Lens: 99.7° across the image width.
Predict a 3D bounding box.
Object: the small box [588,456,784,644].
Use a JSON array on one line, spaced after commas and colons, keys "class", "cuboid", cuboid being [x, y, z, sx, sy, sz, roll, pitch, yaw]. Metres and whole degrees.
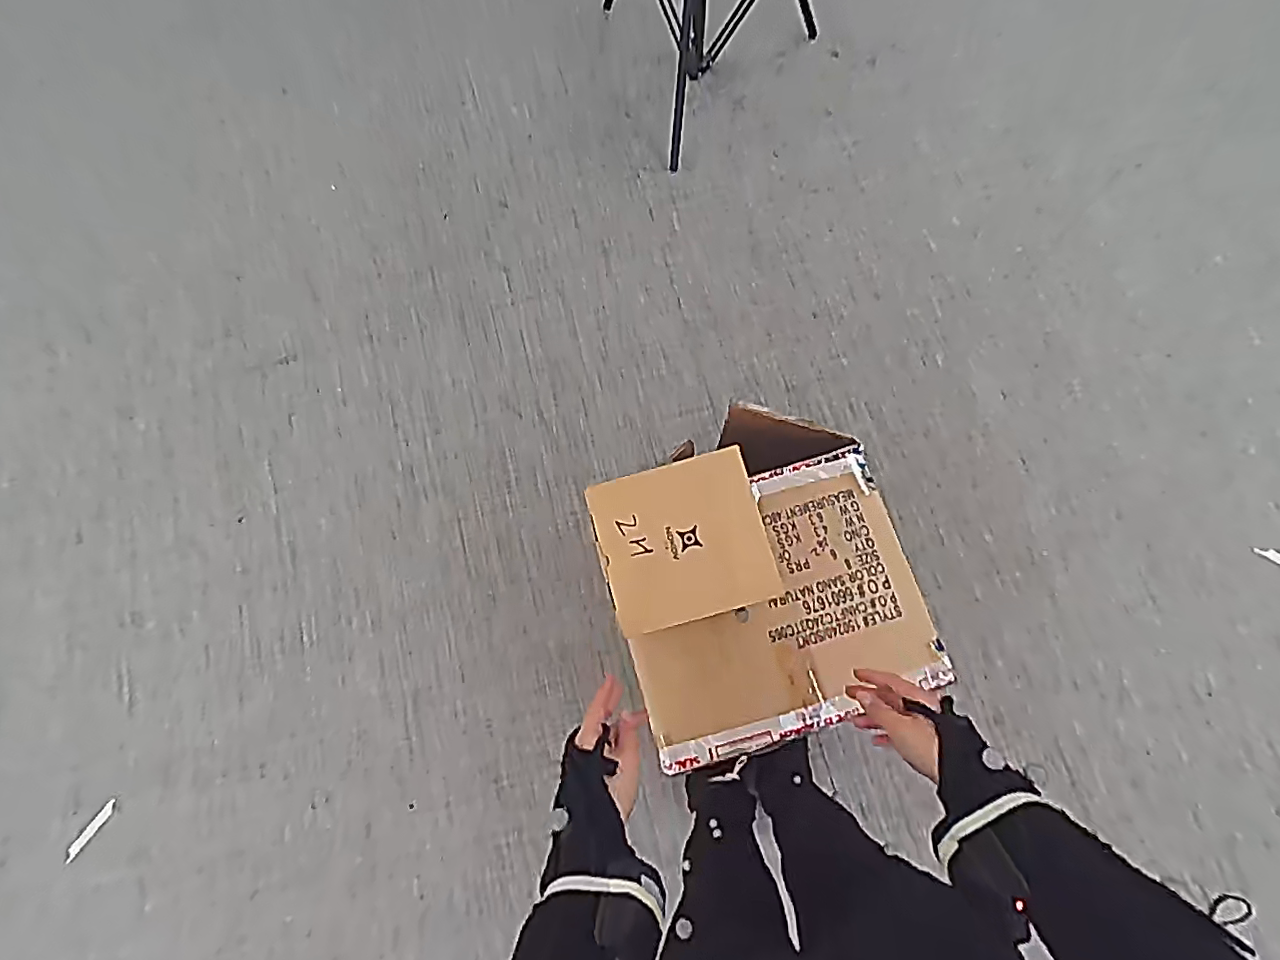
[{"class": "small box", "cuboid": [0.051, 0.087, 0.649, 0.179, 0.176, 0.168, -16, 77, 2]}]
